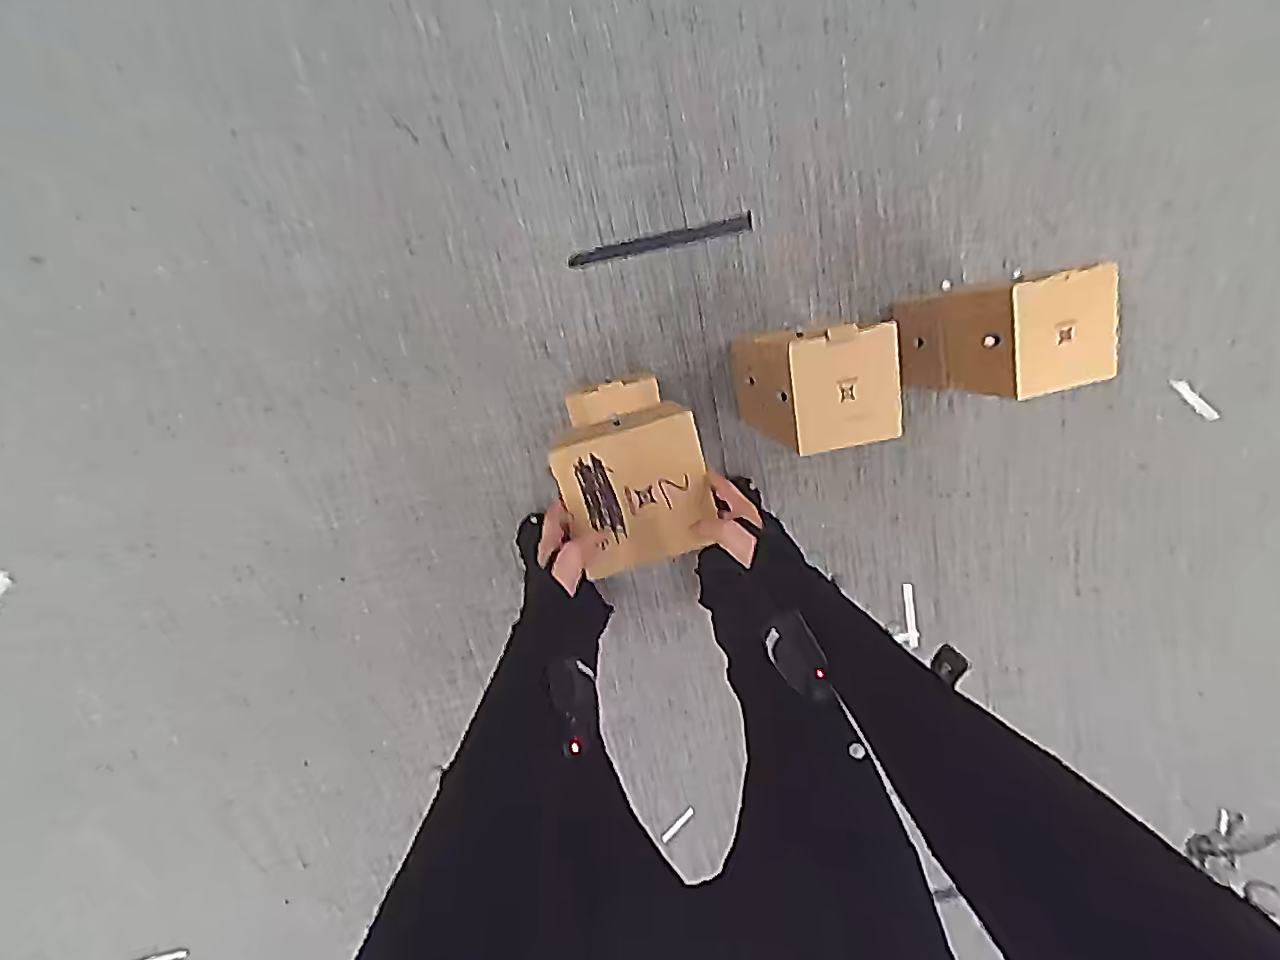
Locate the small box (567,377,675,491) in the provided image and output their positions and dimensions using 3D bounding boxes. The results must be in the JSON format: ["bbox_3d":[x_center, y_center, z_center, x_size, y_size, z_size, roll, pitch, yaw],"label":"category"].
[{"bbox_3d":[-0.040,-0.096,1.030,0.168,0.176,0.179,-13,104,-2],"label":"small box"}]

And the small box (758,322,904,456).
[{"bbox_3d":[0.301,-0.150,0.877,0.168,0.176,0.179,-11,105,-2],"label":"small box"}]

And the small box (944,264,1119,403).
[{"bbox_3d":[0.632,-0.238,0.889,0.168,0.176,0.179,-14,104,-2],"label":"small box"}]

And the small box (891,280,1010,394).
[{"bbox_3d":[0.613,-0.276,1.046,0.168,0.176,0.179,-15,104,-2],"label":"small box"}]

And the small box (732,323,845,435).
[{"bbox_3d":[0.283,-0.195,1.034,0.168,0.176,0.179,-11,105,-2],"label":"small box"}]
